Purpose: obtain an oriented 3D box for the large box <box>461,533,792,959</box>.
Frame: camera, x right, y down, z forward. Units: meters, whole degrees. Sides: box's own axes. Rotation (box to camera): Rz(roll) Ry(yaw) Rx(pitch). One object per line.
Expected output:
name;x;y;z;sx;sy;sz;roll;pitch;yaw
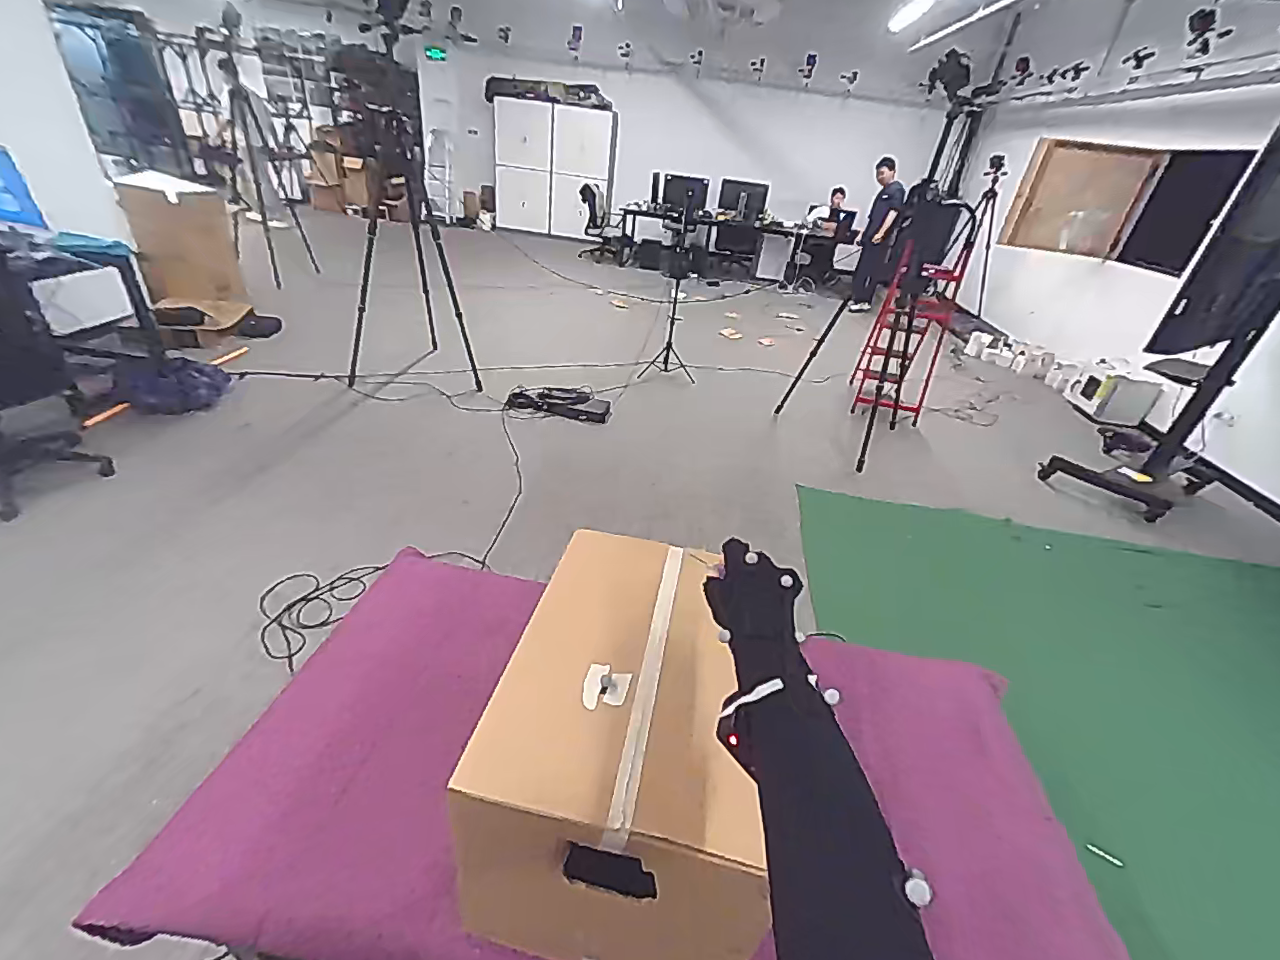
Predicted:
large box;-0.003;0.336;0.723;0.320;0.320;0.408;11;32;6
